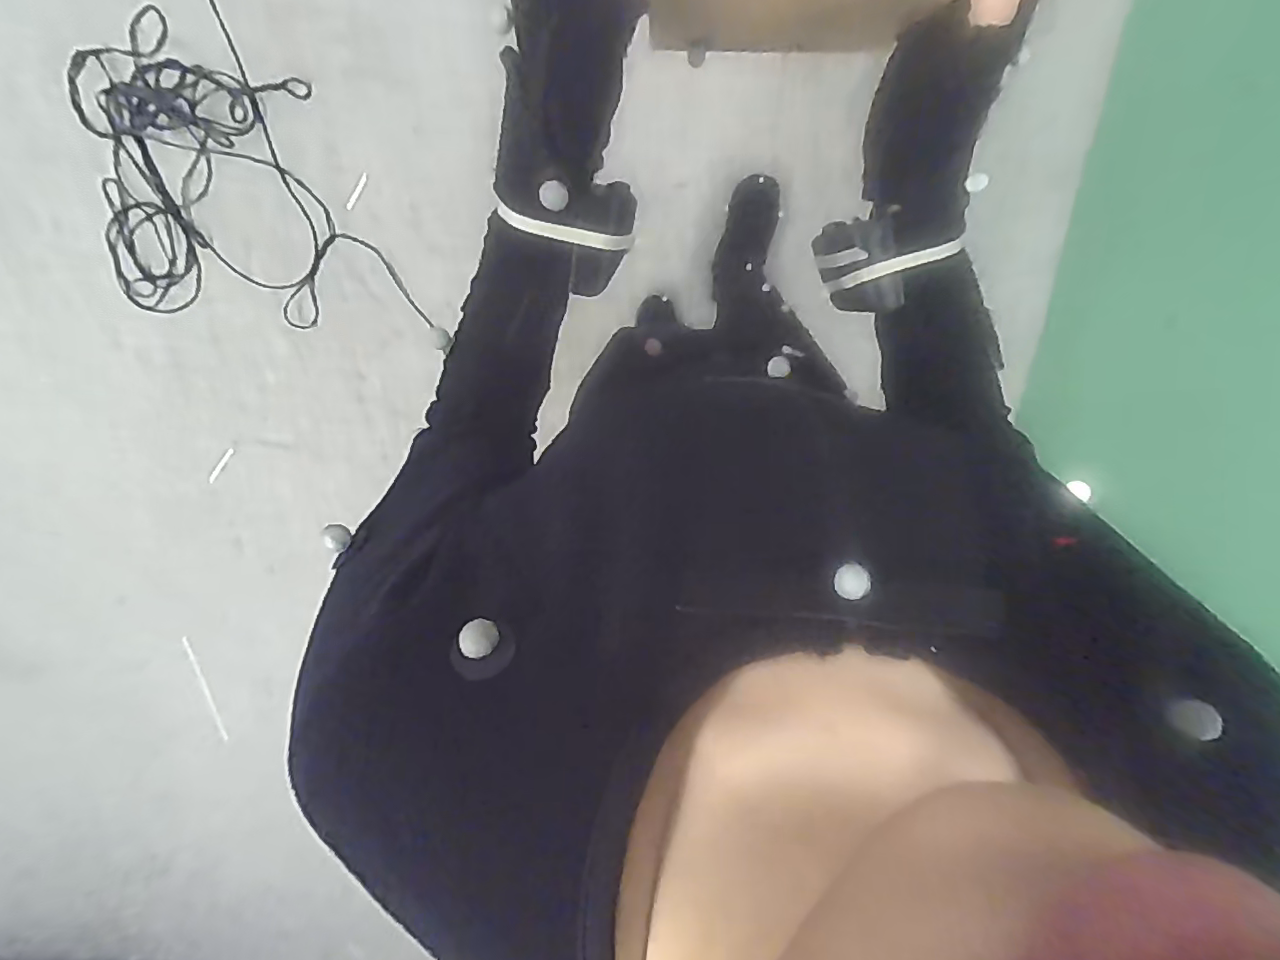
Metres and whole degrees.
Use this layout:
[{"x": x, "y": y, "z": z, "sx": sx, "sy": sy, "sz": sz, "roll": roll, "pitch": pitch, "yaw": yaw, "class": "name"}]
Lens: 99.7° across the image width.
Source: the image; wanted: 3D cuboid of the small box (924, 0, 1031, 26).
[{"x": 0.655, "y": -0.977, "z": 1.002, "sx": 0.168, "sy": 0.176, "sz": 0.179, "roll": 2, "pitch": 113, "yaw": 1, "class": "small box"}]
